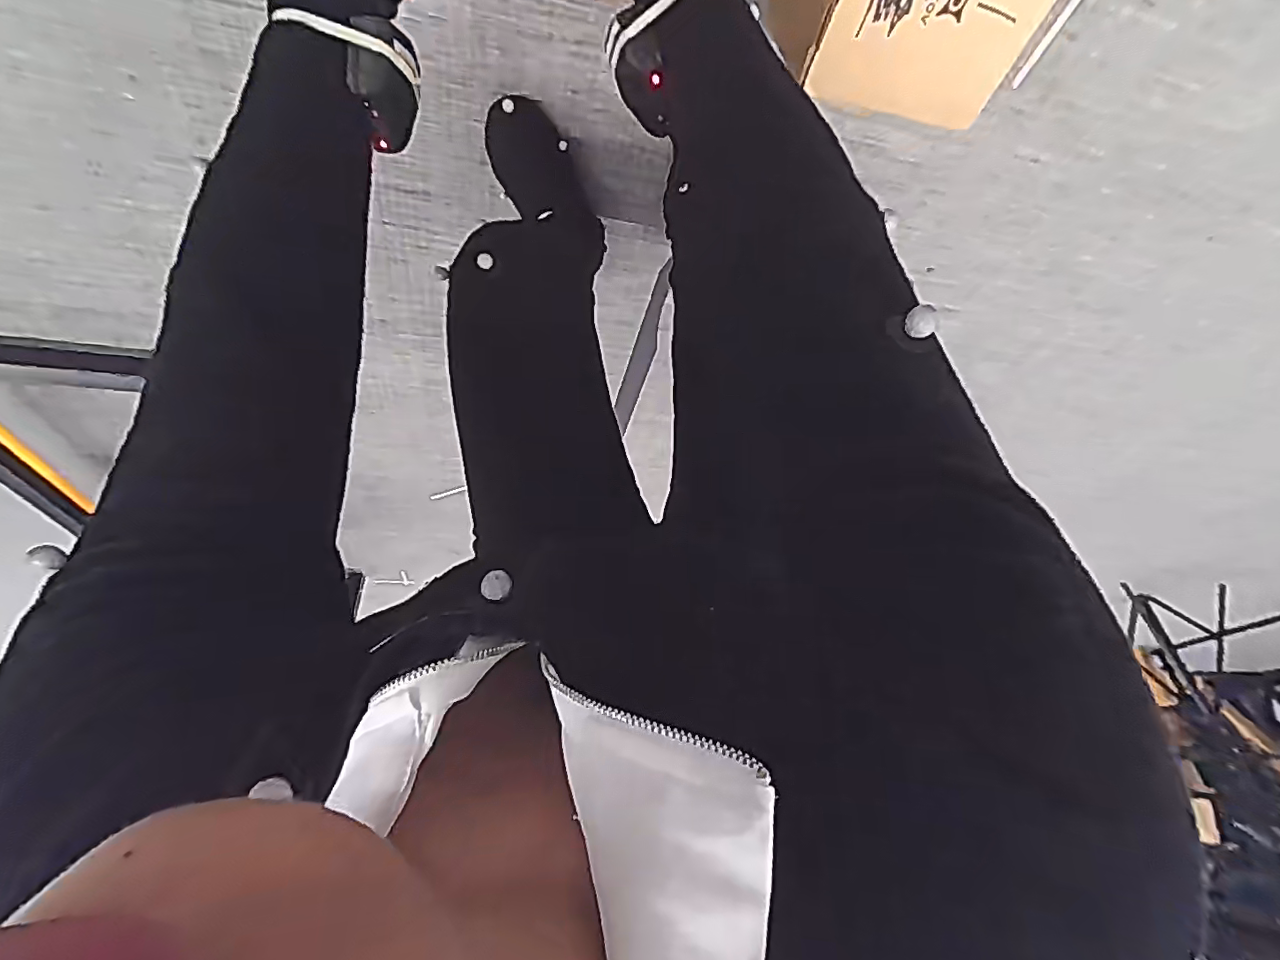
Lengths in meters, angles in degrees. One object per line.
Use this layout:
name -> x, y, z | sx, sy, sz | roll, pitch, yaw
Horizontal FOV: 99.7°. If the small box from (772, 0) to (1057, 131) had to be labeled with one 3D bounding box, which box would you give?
small box -> 0.232, -0.439, 0.457 | 0.179, 0.176, 0.168 | 4, 147, -13
